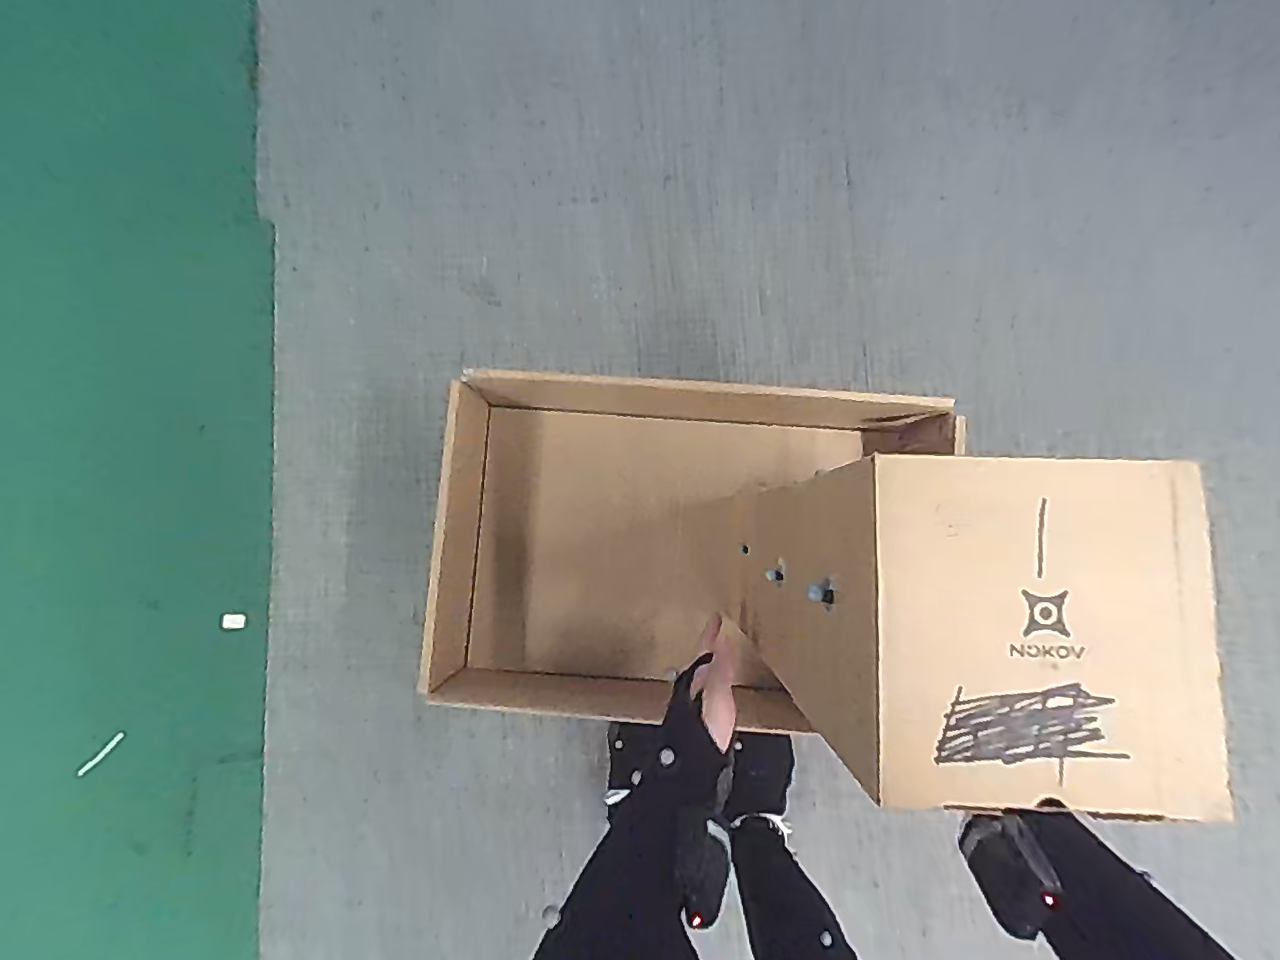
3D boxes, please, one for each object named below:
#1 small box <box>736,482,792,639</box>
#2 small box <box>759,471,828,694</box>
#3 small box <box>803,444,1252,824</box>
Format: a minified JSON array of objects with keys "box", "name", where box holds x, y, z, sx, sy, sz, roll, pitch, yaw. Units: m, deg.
[{"box":[0.213,0.102,0.667,0.168,0.176,0.179,2,84,2],"name":"small box"},{"box":[0.210,0.090,0.505,0.168,0.176,0.179,2,85,1],"name":"small box"},{"box":[0.207,0.079,0.341,0.168,0.176,0.179,2,83,2],"name":"small box"}]
